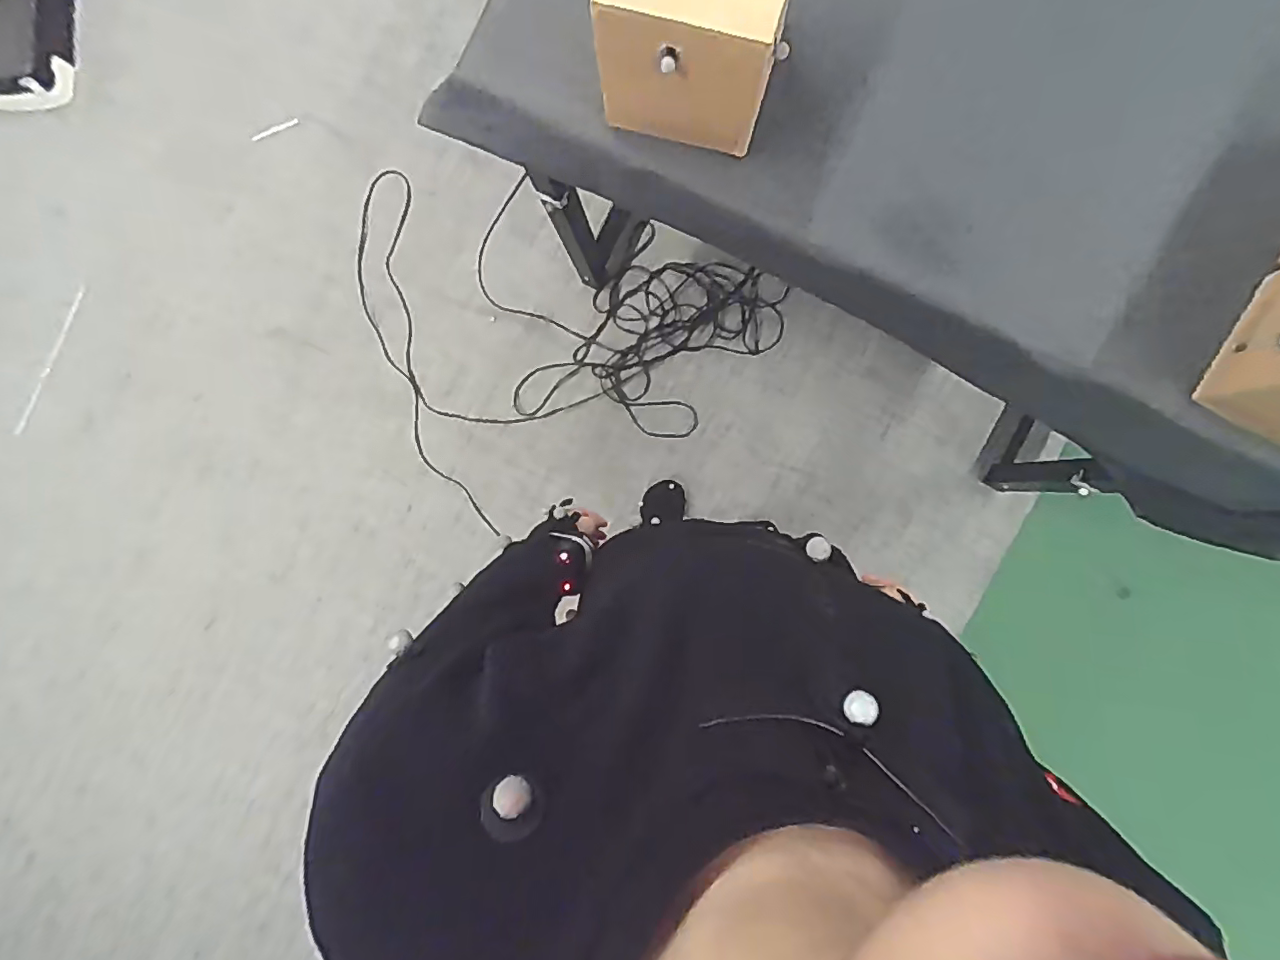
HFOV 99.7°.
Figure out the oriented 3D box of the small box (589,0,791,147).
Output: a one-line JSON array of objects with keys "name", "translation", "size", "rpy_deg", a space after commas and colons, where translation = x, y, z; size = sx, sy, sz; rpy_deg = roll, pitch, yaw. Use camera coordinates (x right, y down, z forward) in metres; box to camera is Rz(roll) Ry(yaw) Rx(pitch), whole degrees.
[{"name": "small box", "translation": [0.063, -0.492, 0.570], "size": [0.179, 0.176, 0.168], "rpy_deg": [17, 90, 4]}]
